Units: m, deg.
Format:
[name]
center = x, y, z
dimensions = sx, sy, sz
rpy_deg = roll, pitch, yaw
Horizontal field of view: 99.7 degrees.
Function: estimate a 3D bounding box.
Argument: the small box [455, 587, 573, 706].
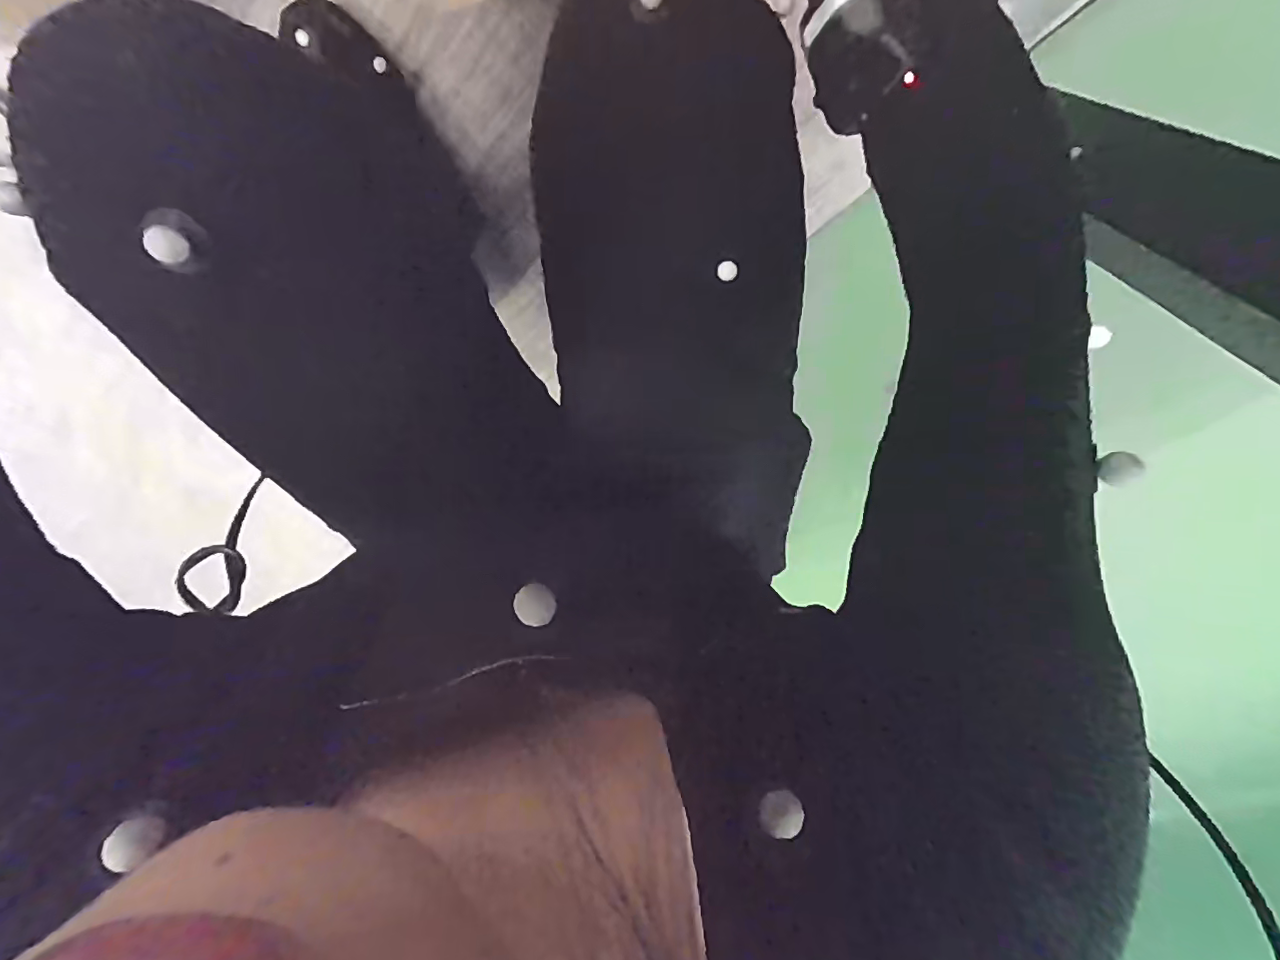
[small box]
center = -0.257, 0.352, 1.150
dimensions = 0.179, 0.176, 0.168
rpy_deg = -26, 129, 24
